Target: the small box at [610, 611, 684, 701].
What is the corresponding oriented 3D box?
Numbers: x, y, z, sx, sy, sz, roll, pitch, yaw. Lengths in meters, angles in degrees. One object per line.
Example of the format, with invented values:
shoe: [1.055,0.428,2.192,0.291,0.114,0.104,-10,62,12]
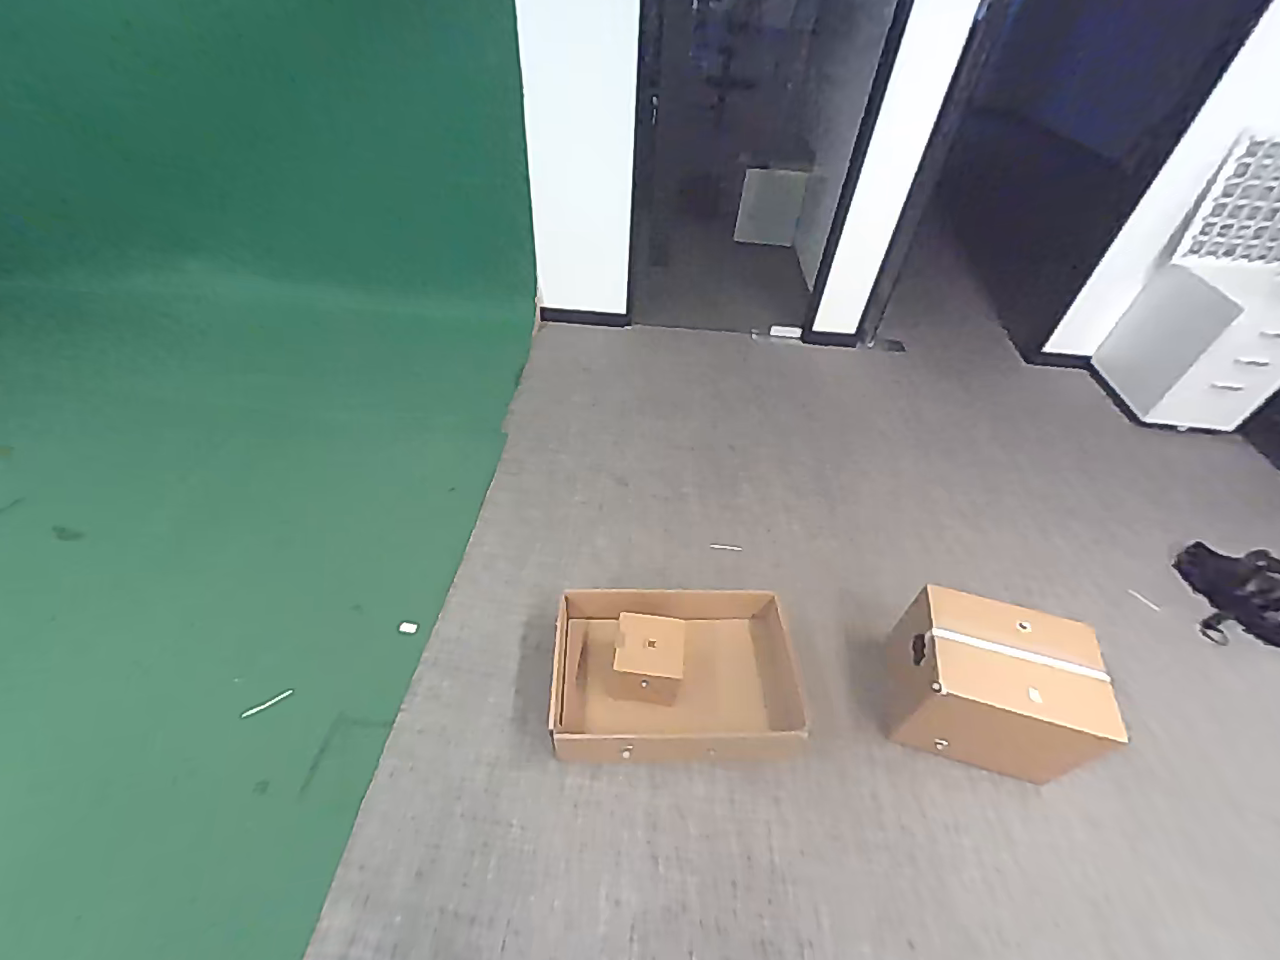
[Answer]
small box: [0.017,0.473,1.443,0.179,0.176,0.168,7,46,-1]
